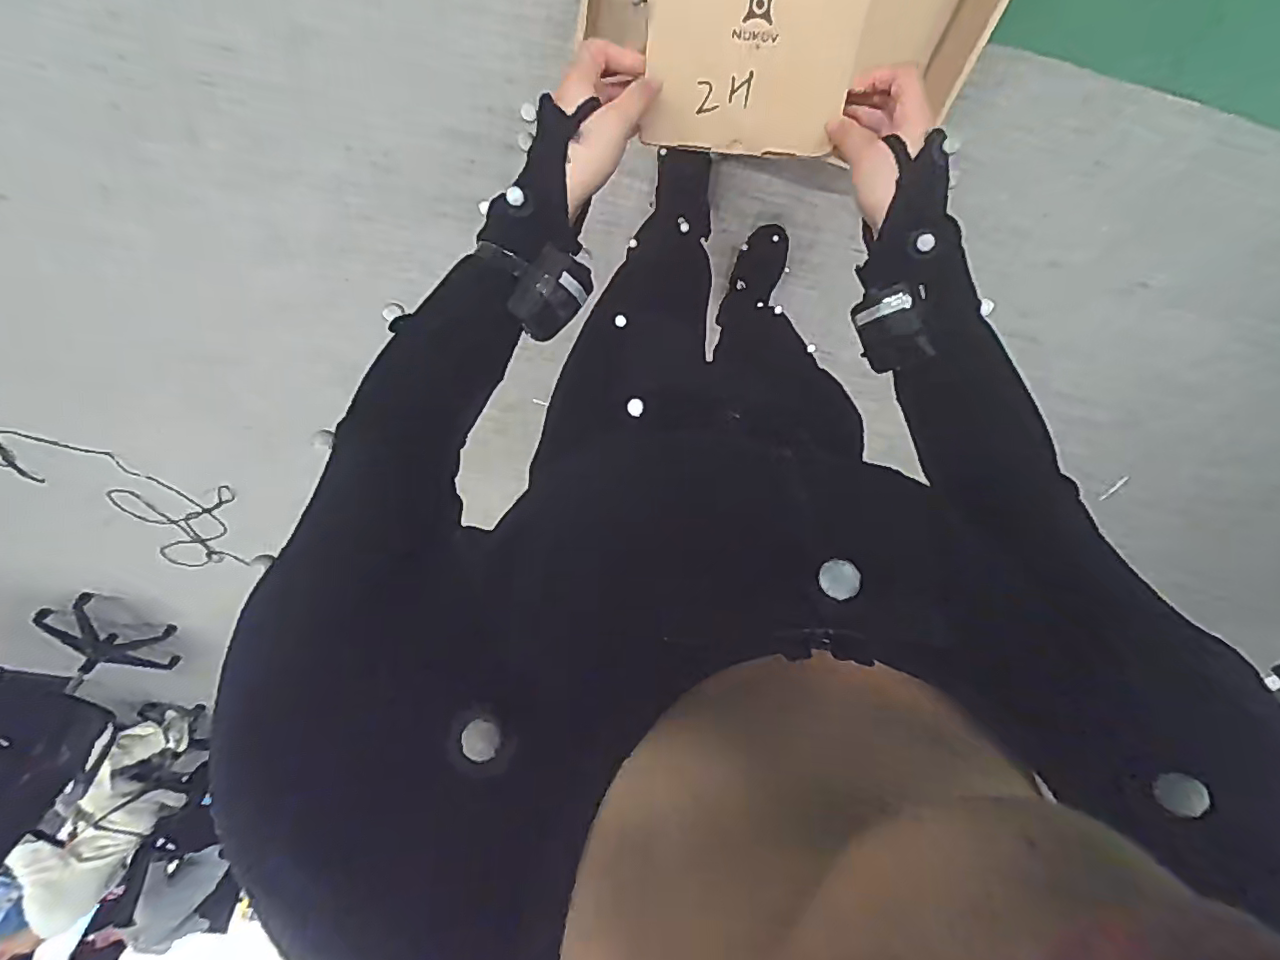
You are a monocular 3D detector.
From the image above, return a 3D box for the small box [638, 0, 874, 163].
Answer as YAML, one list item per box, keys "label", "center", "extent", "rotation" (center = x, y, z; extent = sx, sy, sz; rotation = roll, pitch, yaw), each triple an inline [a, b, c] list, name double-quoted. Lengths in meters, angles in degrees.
- label: "small box"
  center: [0.087, -0.391, 0.468]
  extent: [0.168, 0.176, 0.179]
  rotation: [3, 127, -4]
